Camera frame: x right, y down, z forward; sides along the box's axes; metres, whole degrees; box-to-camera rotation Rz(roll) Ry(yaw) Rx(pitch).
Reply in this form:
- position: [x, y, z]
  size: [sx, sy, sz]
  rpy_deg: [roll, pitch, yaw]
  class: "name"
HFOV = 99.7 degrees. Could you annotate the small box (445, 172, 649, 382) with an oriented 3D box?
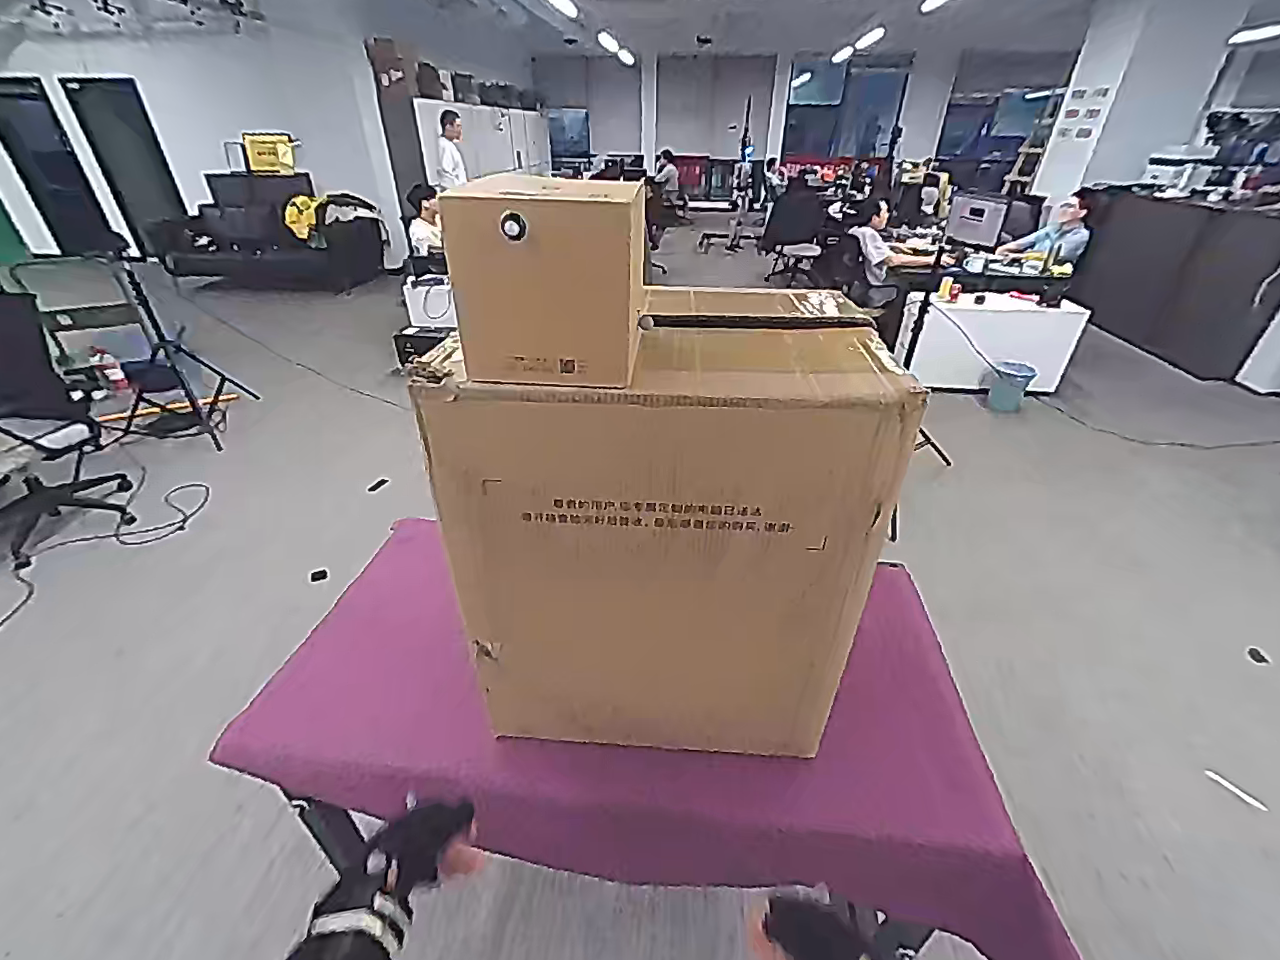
- position: [-0.080, -0.214, 0.558]
  size: [0.168, 0.176, 0.179]
  rpy_deg: [3, 33, 3]
  class: "small box"
